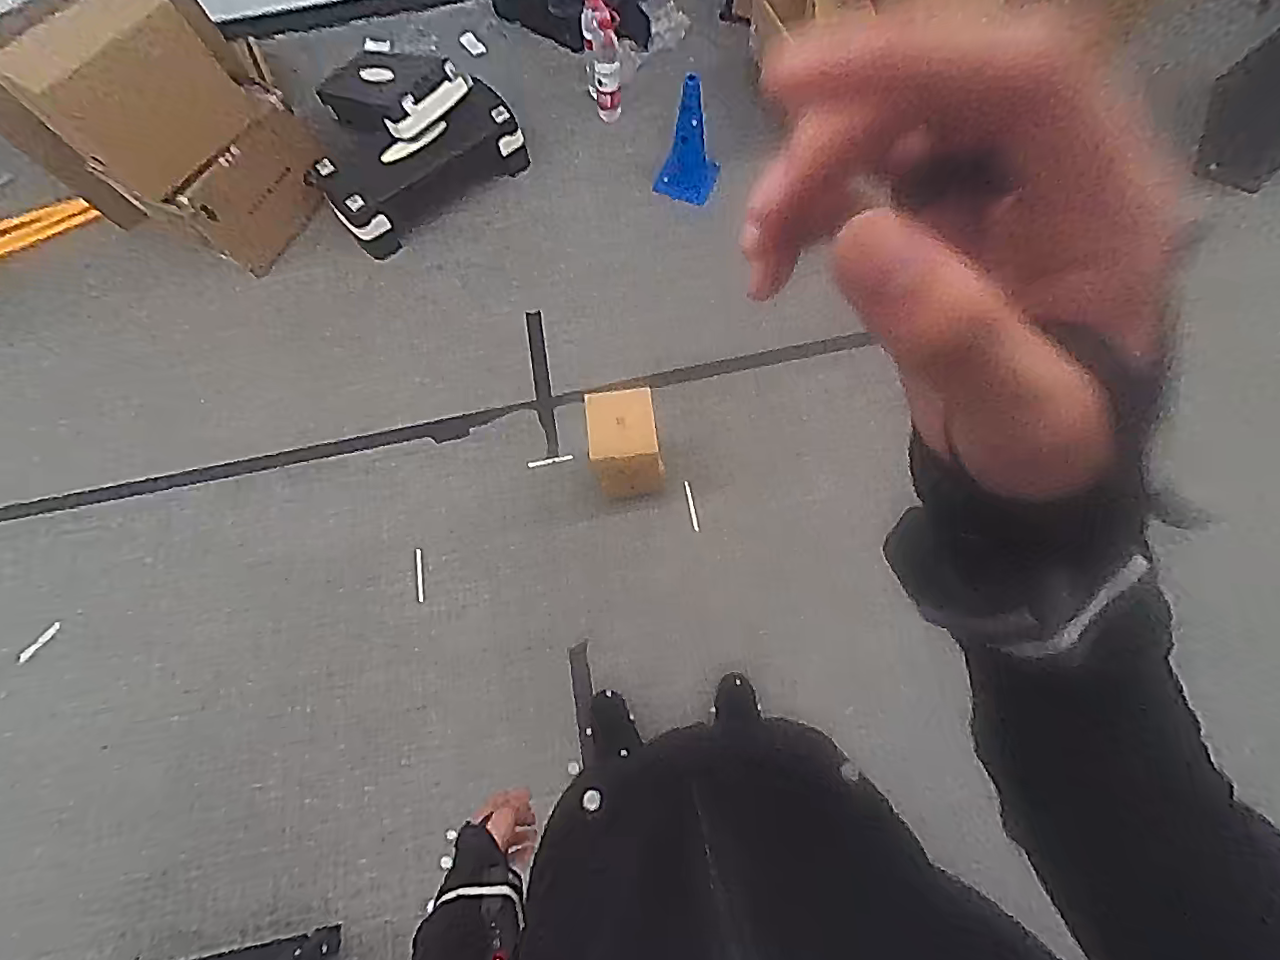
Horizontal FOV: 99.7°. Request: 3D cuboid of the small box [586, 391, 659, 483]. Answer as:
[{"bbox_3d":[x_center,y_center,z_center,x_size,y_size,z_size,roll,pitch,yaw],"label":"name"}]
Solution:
[{"bbox_3d":[-0.043,-0.105,1.382,0.168,0.176,0.179,-7,73,0],"label":"small box"}]
